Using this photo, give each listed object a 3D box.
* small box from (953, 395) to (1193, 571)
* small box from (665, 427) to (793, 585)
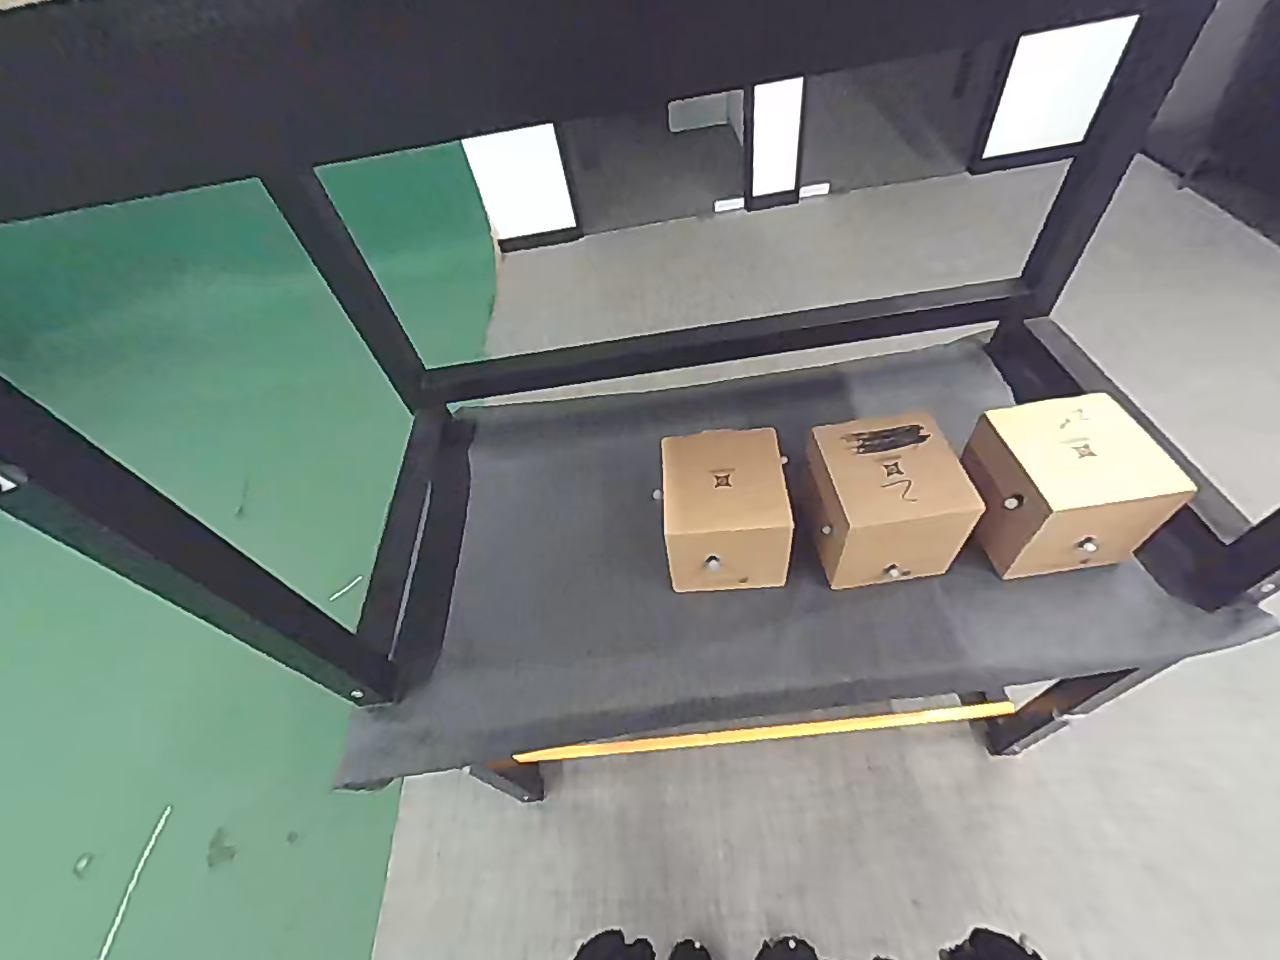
[{"bbox_3d":[0.571,0.012,0.748,0.168,0.176,0.179,-9,49,3],"label":"small box"},{"bbox_3d":[0.128,0.047,0.803,0.168,0.176,0.179,-5,51,6],"label":"small box"}]
